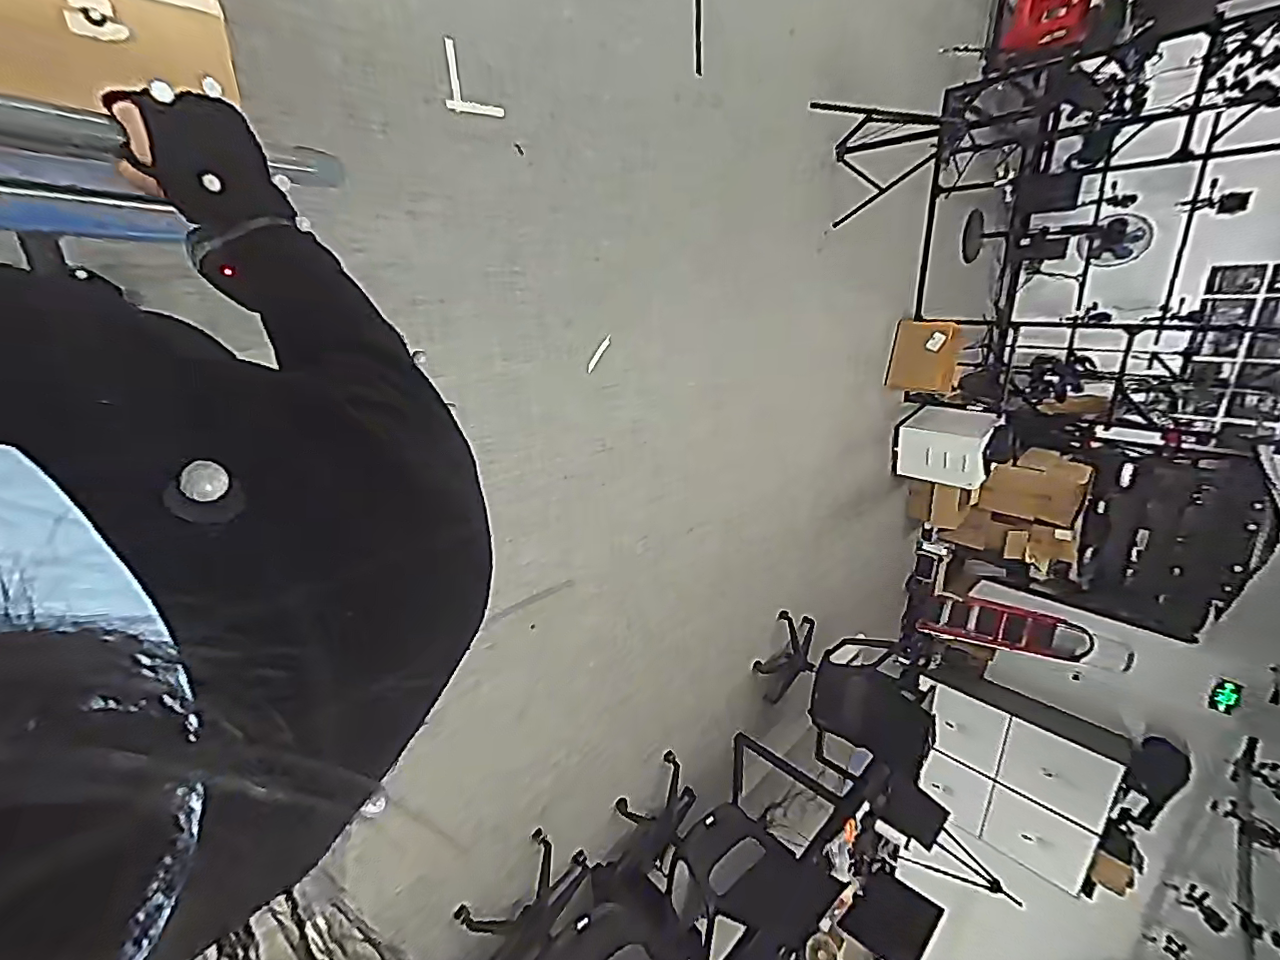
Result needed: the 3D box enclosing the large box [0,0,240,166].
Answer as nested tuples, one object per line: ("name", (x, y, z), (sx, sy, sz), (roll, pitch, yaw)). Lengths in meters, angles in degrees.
("large box", (-0.836, -0.632, 0.709), (0.408, 0.320, 0.320), (-20, 117, -43))
